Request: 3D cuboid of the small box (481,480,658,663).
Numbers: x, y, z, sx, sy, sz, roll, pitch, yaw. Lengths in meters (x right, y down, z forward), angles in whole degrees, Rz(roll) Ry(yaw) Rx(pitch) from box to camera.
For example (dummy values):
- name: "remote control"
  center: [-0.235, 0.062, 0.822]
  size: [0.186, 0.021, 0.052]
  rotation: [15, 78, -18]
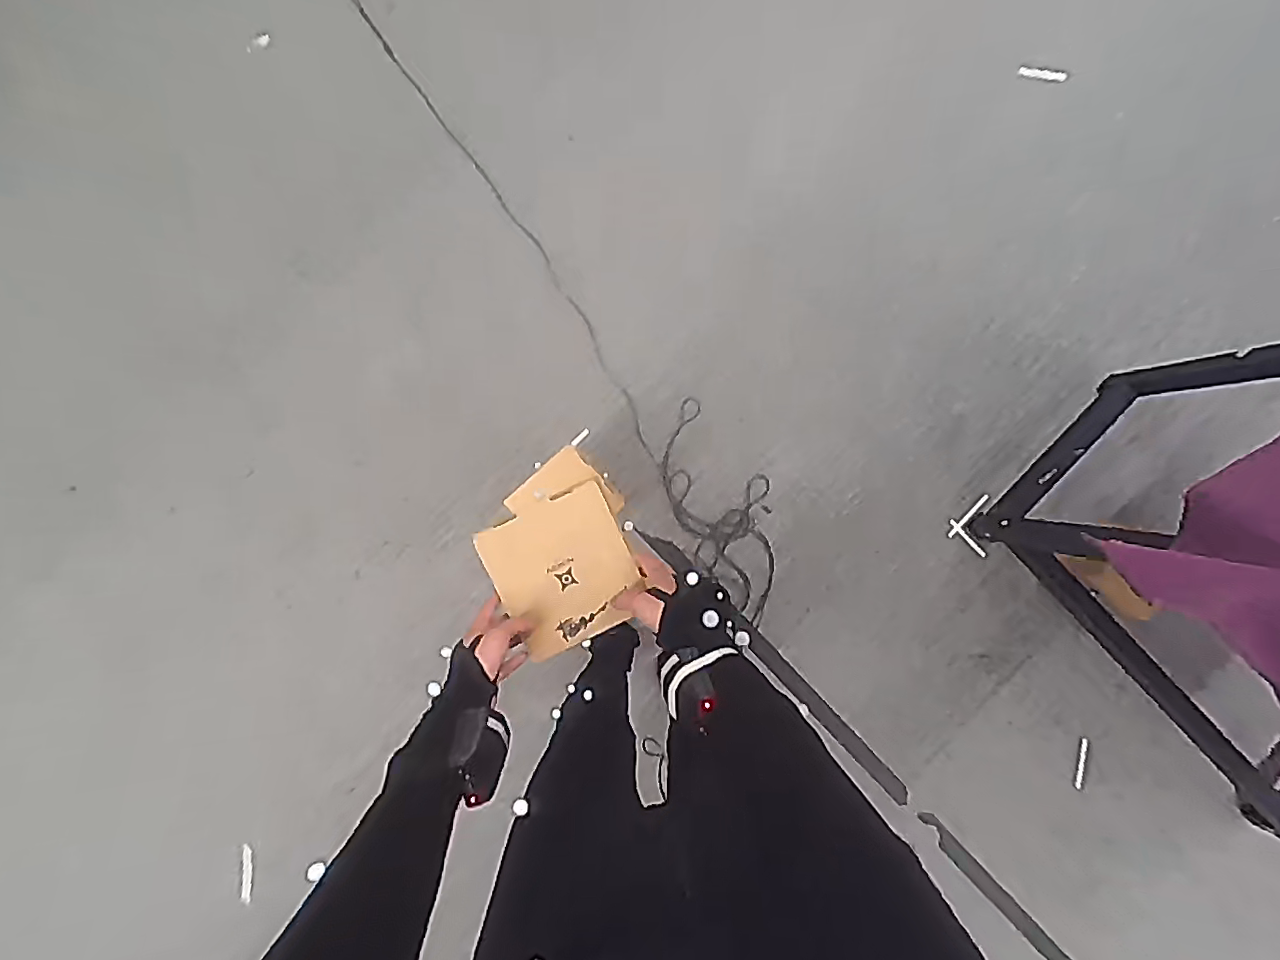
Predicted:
- name: "small box"
  center: [-0.090, 0.111, 0.731]
  size: [0.168, 0.176, 0.179]
  rotation: [-24, 93, -3]

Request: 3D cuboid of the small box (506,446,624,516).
- name: "small box"
  center: [-0.148, 0.050, 1.136]
  size: [0.179, 0.176, 0.168]
  rotation: [-42, 92, -2]
